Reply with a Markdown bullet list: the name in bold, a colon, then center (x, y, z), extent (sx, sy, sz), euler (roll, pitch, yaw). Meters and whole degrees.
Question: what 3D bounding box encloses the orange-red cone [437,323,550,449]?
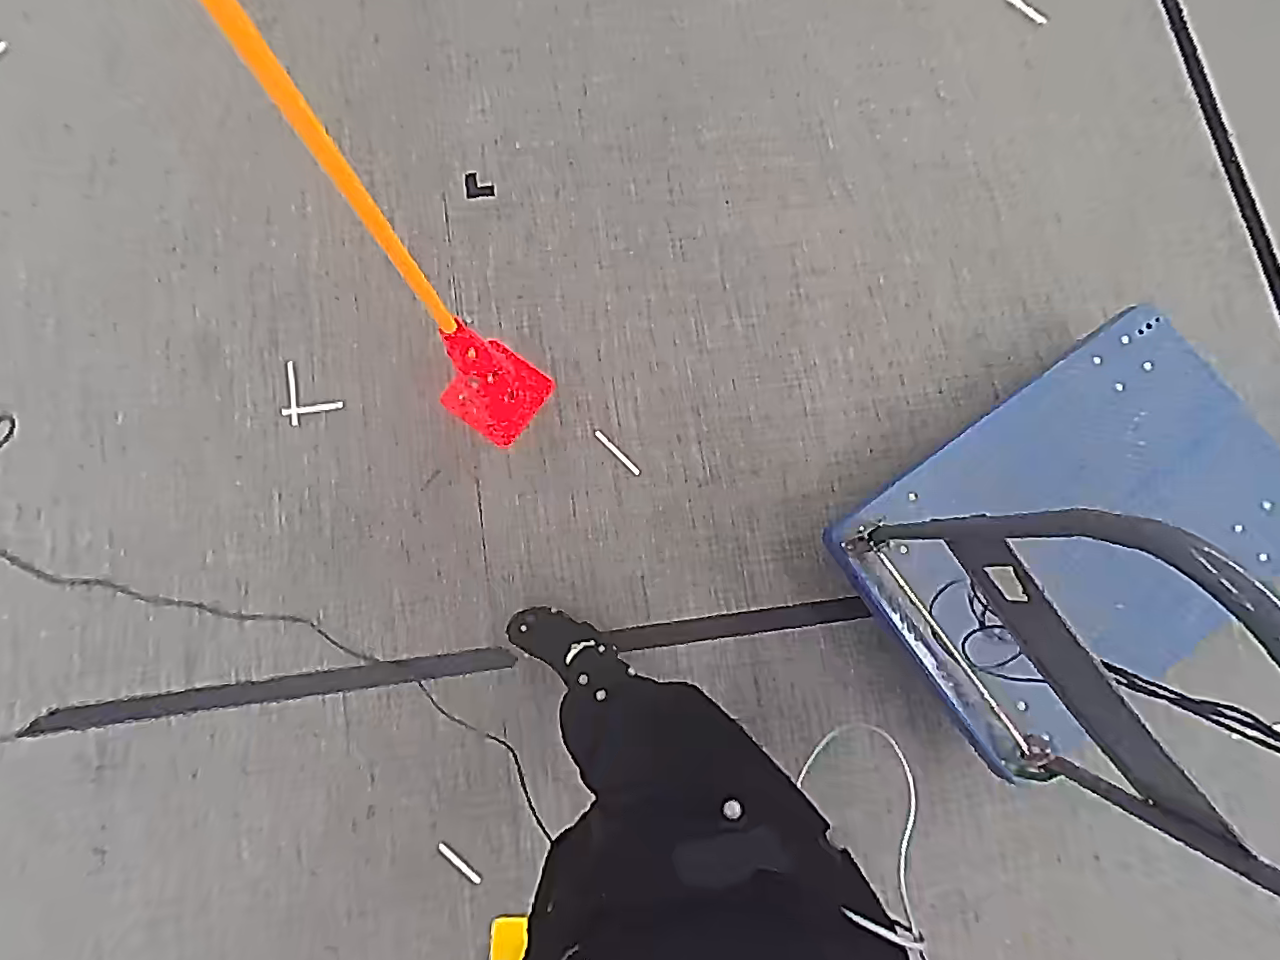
- **orange-red cone**: center (-0.323, -0.219, 1.069), extent (0.199, 0.360, 0.198), euler (37, 82, 3)
